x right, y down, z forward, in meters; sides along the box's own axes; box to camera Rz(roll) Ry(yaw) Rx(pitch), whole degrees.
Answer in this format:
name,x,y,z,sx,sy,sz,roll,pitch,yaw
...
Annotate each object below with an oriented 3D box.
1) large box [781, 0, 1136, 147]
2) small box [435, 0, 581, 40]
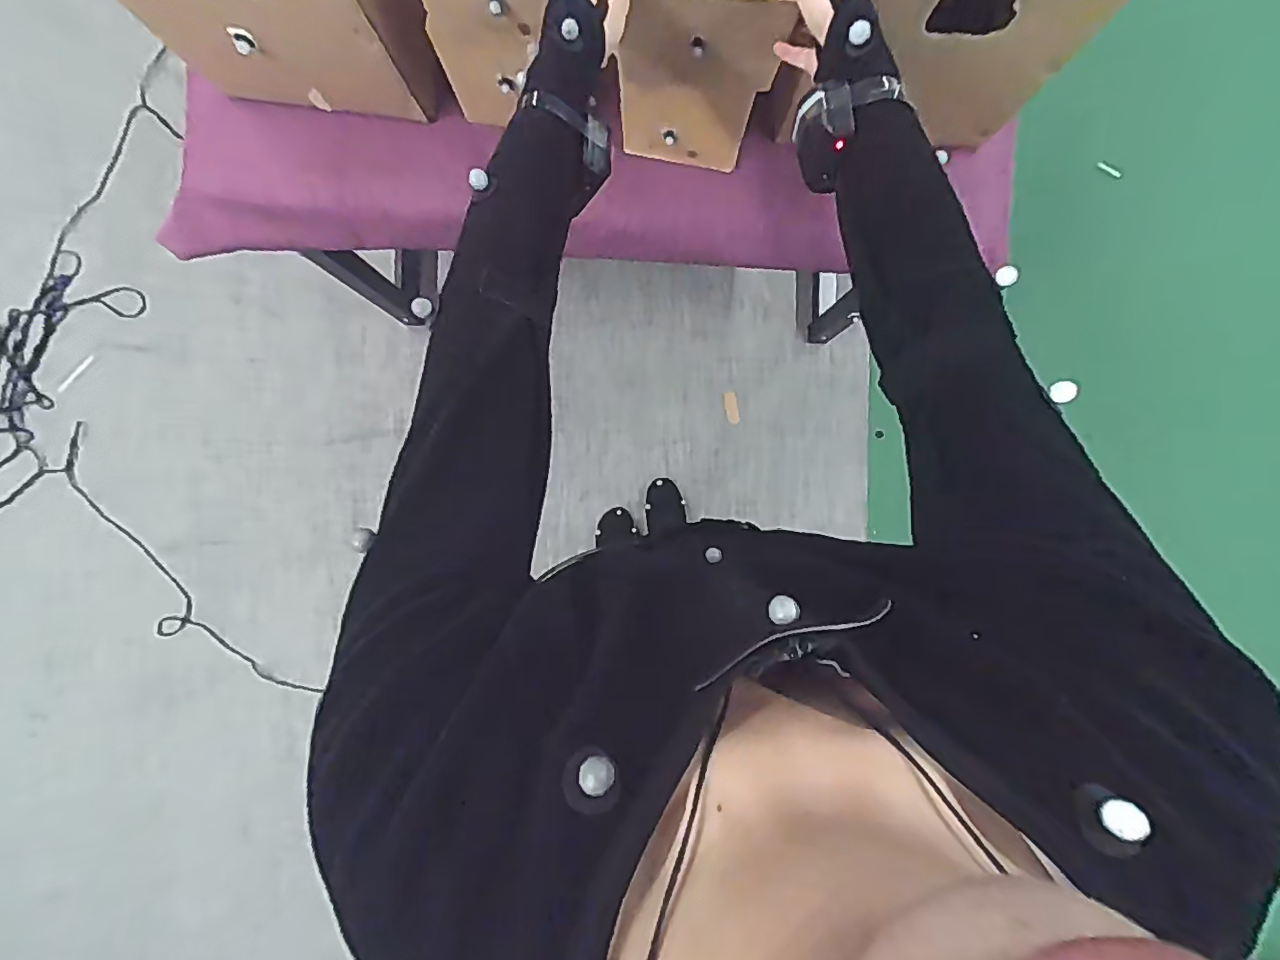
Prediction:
name,x,y,z,sx,sy,sz,roll,pitch,yaw
large box,0.359,-0.689,0.646,0.320,0.320,0.408,1,91,2
small box,-0.145,-0.598,0.541,0.168,0.176,0.179,3,90,0
